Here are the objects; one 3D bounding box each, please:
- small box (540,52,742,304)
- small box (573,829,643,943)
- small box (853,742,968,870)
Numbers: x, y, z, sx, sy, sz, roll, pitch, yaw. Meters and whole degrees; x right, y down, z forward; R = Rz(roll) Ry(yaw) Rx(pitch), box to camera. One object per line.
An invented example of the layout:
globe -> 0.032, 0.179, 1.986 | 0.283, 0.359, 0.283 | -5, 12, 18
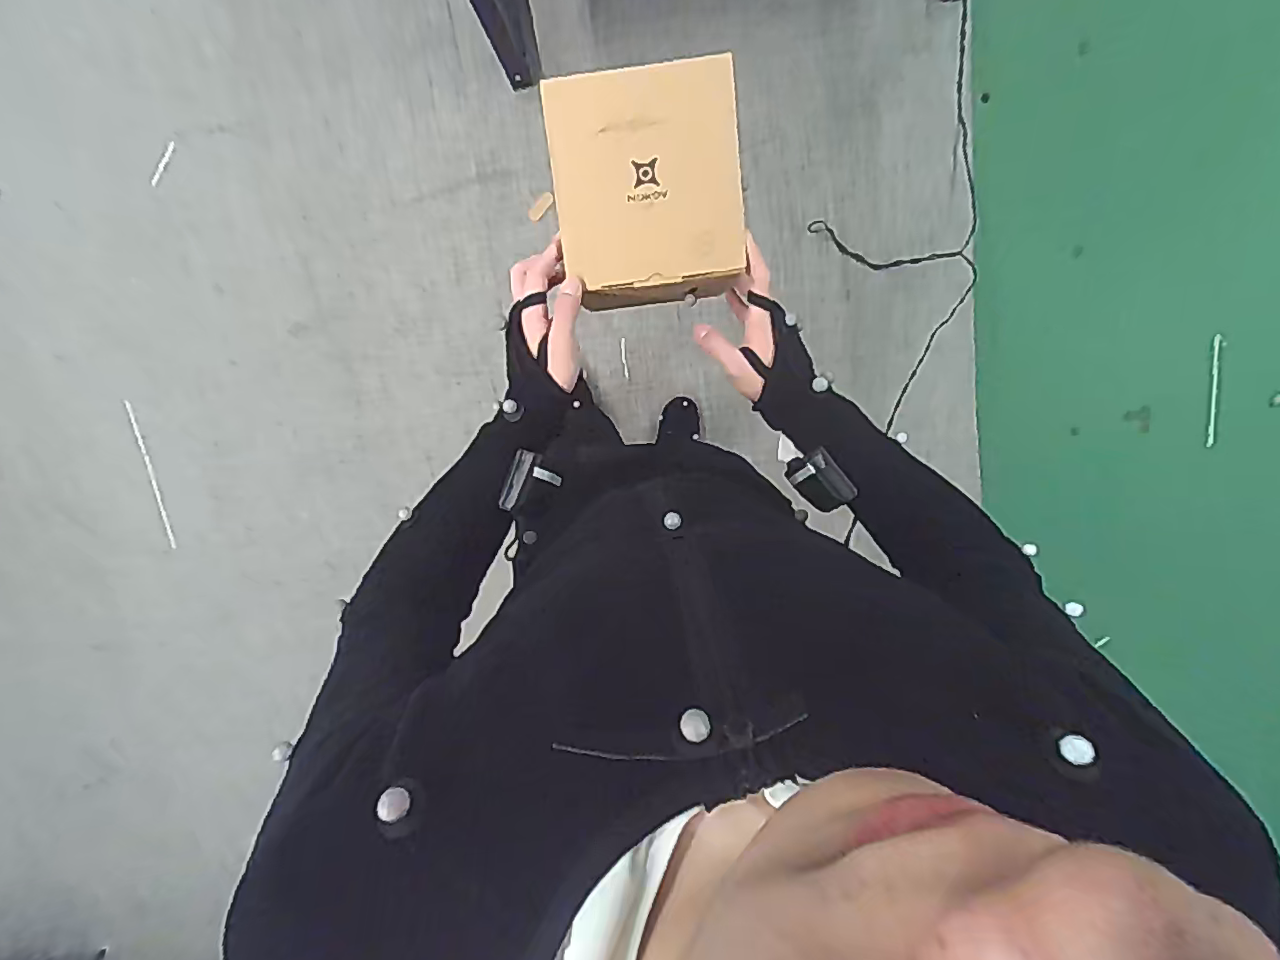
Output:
small box -> 0.006, -0.280, 0.548 | 0.168, 0.176, 0.179 | -6, 101, 2
small box -> -0.079, 1.055, 1.417 | 0.168, 0.176, 0.179 | 3, 98, 2
small box -> 0.658, 0.803, 1.347 | 0.179, 0.176, 0.168 | -41, 96, 8
